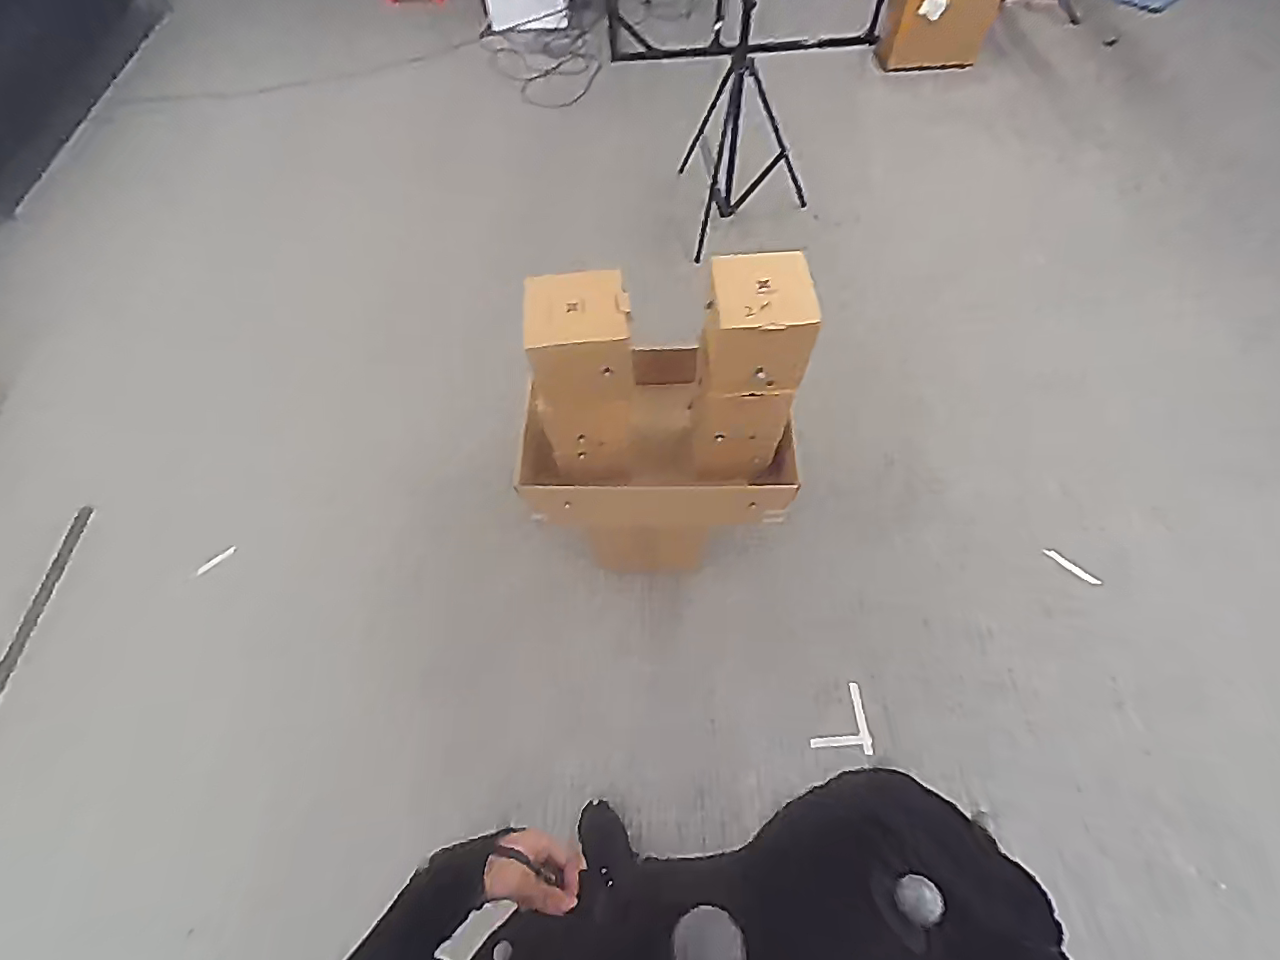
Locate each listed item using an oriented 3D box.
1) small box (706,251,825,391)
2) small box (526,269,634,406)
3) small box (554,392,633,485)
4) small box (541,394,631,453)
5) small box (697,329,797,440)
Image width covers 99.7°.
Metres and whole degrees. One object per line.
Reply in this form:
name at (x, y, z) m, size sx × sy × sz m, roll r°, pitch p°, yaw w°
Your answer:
small box at (0.213, -0.281, 0.971) m, size 0.168 × 0.176 × 0.179 m, roll -3°, pitch 63°, yaw 1°
small box at (-0.102, -0.250, 0.974) m, size 0.179 × 0.176 × 0.168 m, roll -5°, pitch 63°, yaw 0°
small box at (-0.104, -0.106, 1.267) m, size 0.168 × 0.176 × 0.179 m, roll -4°, pitch 62°, yaw 2°
small box at (-0.109, -0.176, 1.120) m, size 0.168 × 0.176 × 0.179 m, roll -6°, pitch 64°, yaw 0°
small box at (0.211, -0.192, 1.109) m, size 0.168 × 0.176 × 0.179 m, roll -3°, pitch 62°, yaw 0°
